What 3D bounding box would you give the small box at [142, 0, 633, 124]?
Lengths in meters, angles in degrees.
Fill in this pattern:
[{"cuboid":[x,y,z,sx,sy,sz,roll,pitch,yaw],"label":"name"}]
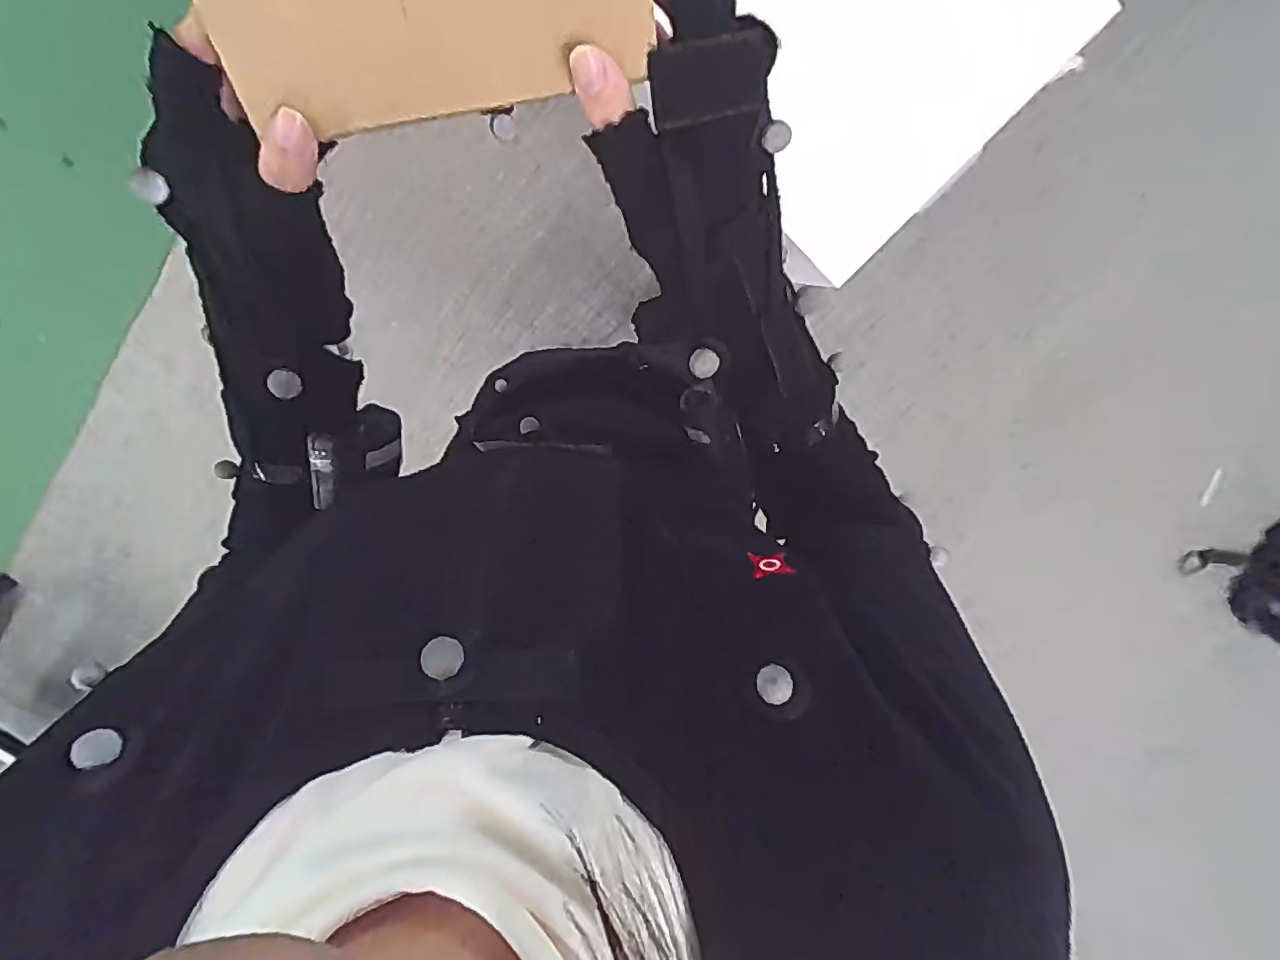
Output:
[{"cuboid":[-0.097,-0.261,0.215,0.168,0.176,0.179,-7,127,5],"label":"small box"}]
